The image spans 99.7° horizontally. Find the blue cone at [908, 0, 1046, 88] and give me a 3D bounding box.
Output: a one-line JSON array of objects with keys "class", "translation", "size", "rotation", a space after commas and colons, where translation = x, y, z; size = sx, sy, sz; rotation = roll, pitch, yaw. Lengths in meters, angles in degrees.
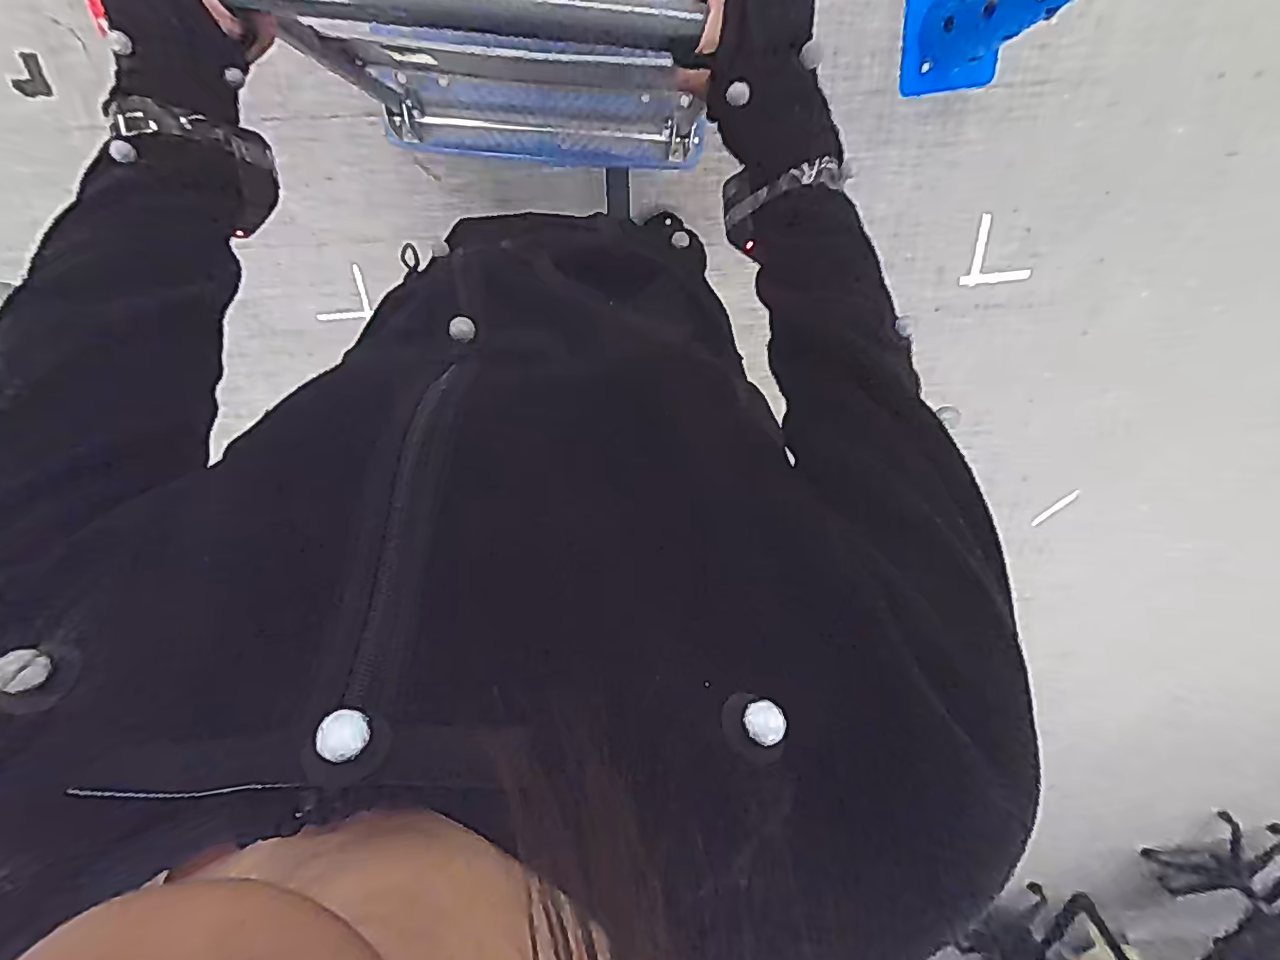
[{"class": "blue cone", "translation": [0.641, -0.826, 0.930], "size": [0.193, 0.380, 0.192], "rotation": [-7, 118, 0]}]
